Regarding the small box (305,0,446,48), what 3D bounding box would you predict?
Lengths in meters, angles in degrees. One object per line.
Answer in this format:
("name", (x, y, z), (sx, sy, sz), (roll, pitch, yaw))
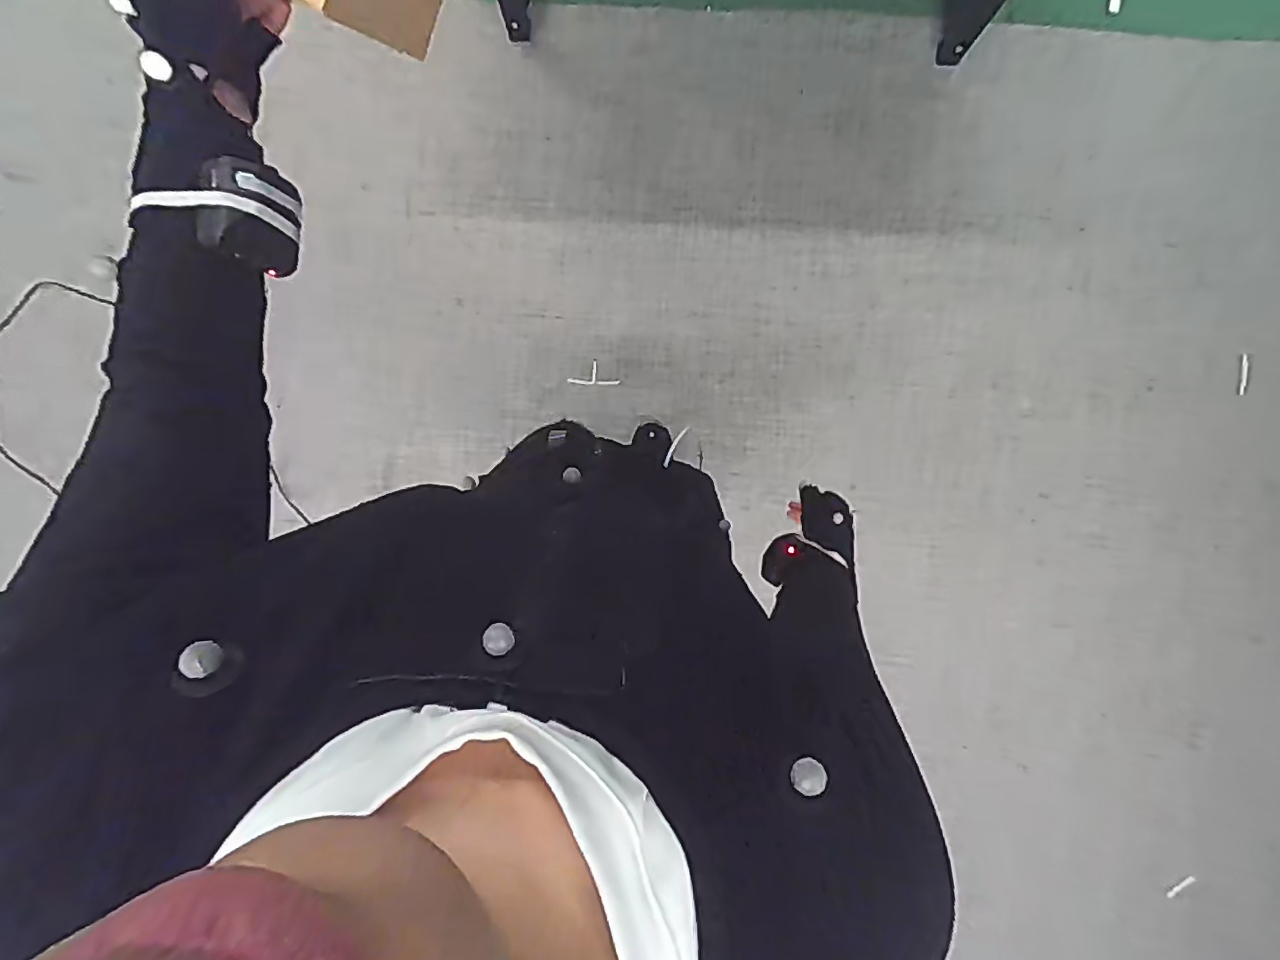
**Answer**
("small box", (-0.239, -0.477, 0.408), (0.168, 0.176, 0.179), (29, 118, -11))
